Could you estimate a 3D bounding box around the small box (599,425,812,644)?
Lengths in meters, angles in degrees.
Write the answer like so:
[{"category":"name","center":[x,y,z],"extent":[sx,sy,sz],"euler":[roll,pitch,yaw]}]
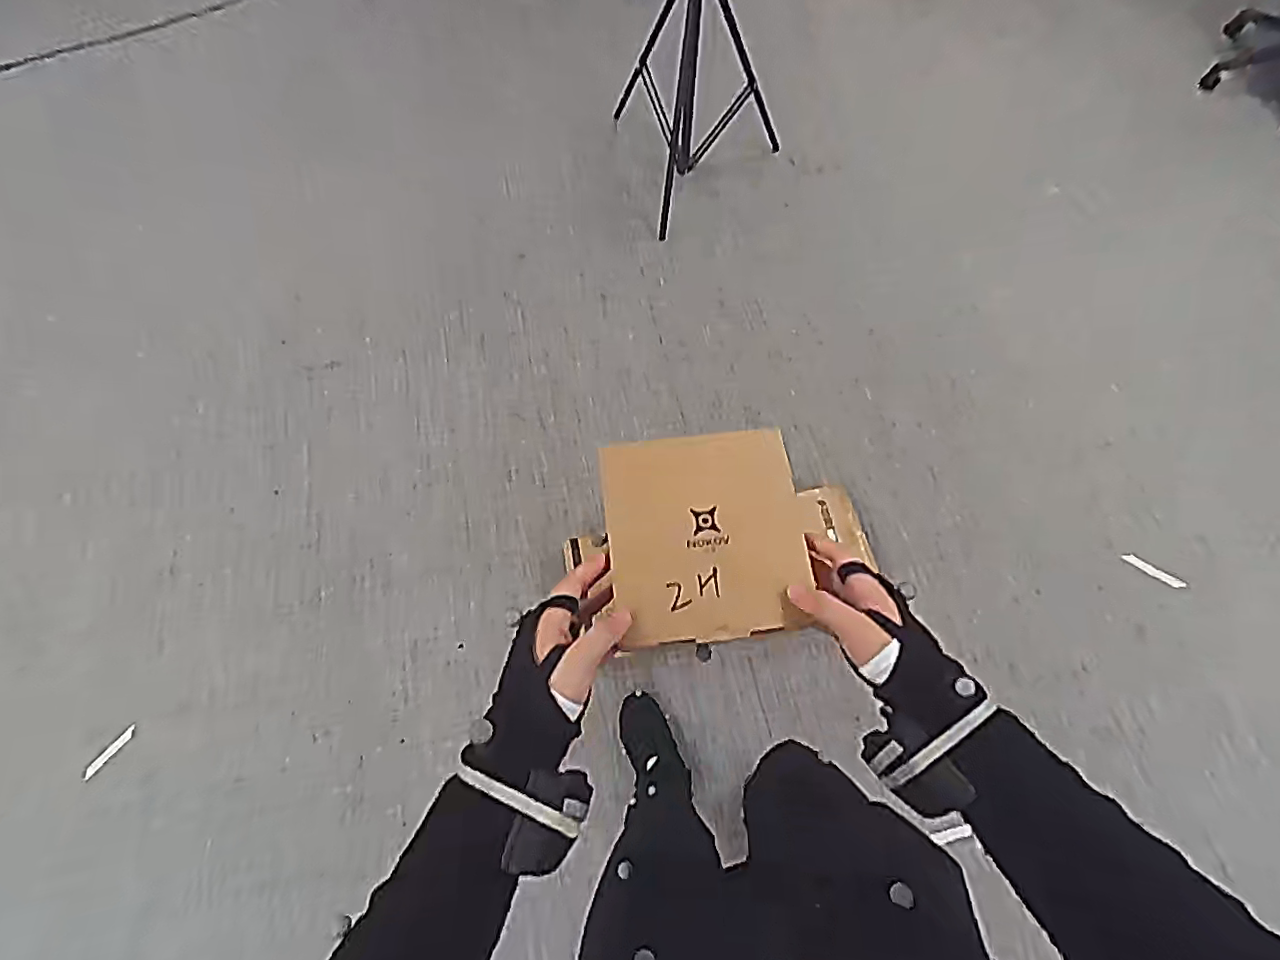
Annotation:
[{"category":"small box","center":[0.048,0.063,0.534],"extent":[0.168,0.176,0.179],"euler":[-5,73,-3]}]
